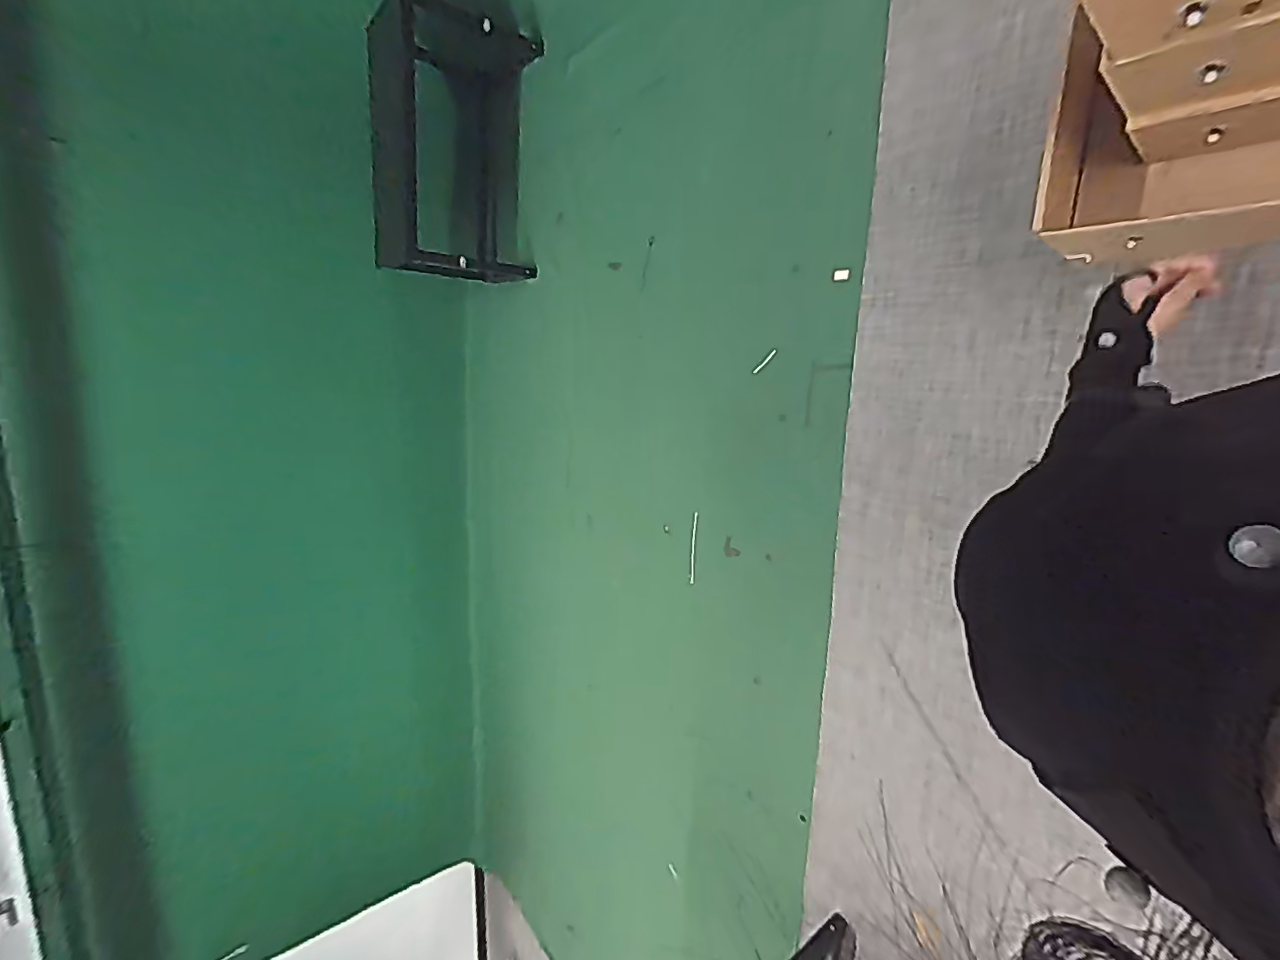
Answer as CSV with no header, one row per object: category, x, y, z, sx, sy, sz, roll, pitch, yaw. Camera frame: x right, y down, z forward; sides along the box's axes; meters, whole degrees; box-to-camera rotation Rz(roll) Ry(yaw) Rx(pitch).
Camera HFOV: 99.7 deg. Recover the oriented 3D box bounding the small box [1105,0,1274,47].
small box,0.513,-0.531,0.463,0.168,0.176,0.179,13,105,50
